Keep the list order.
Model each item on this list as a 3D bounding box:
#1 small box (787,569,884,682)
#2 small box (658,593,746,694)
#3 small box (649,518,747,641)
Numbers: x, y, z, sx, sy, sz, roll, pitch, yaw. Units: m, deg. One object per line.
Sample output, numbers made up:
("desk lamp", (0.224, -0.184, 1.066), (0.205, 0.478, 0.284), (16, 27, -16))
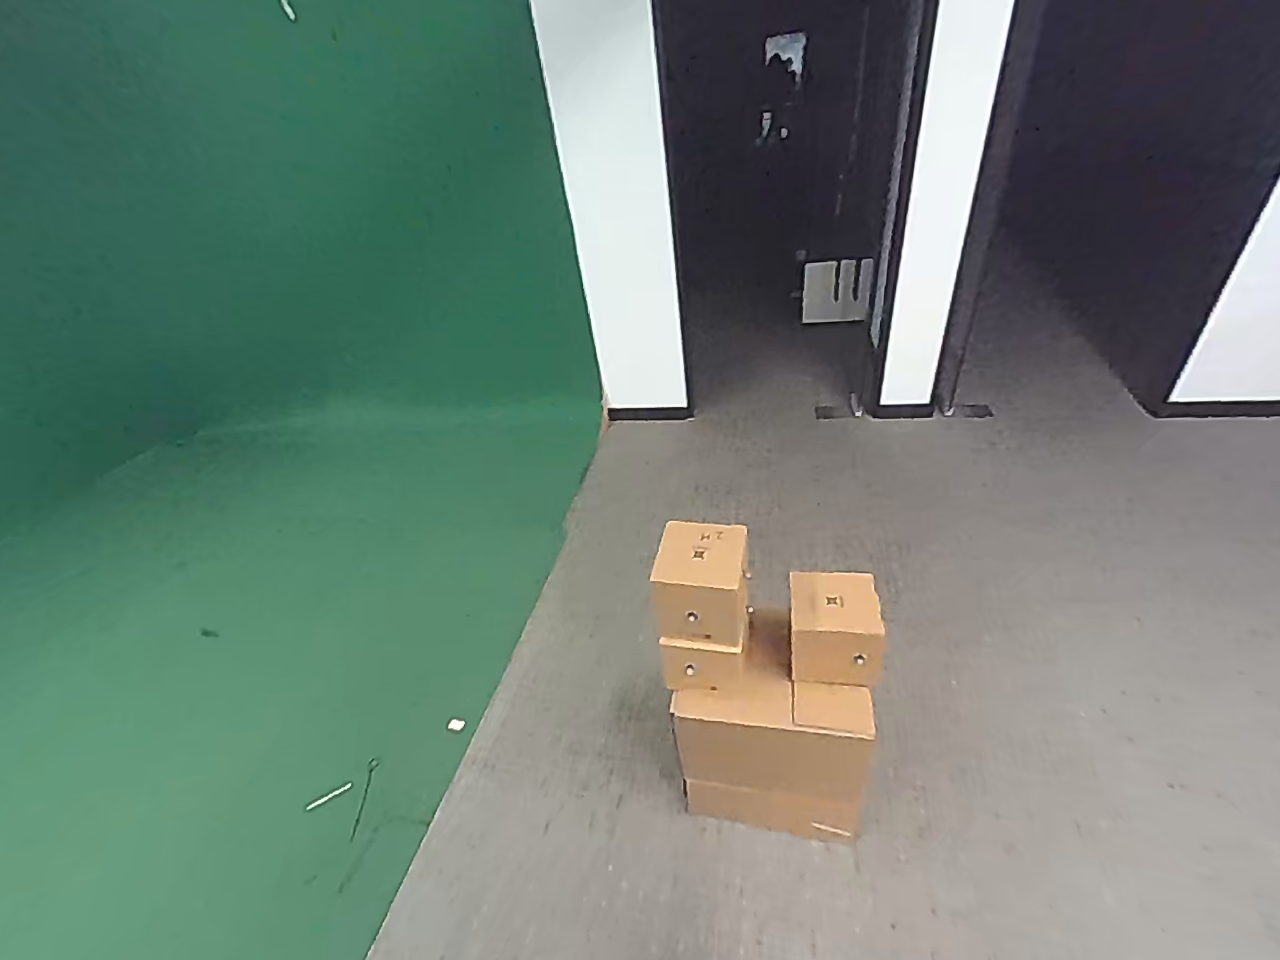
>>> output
("small box", (0.410, 0.313, 1.163), (0.179, 0.176, 0.168), (0, 36, 14))
("small box", (0.142, 0.340, 1.182), (0.168, 0.176, 0.179), (3, 38, 14))
("small box", (0.125, 0.201, 1.095), (0.168, 0.176, 0.179), (4, 38, 15))
